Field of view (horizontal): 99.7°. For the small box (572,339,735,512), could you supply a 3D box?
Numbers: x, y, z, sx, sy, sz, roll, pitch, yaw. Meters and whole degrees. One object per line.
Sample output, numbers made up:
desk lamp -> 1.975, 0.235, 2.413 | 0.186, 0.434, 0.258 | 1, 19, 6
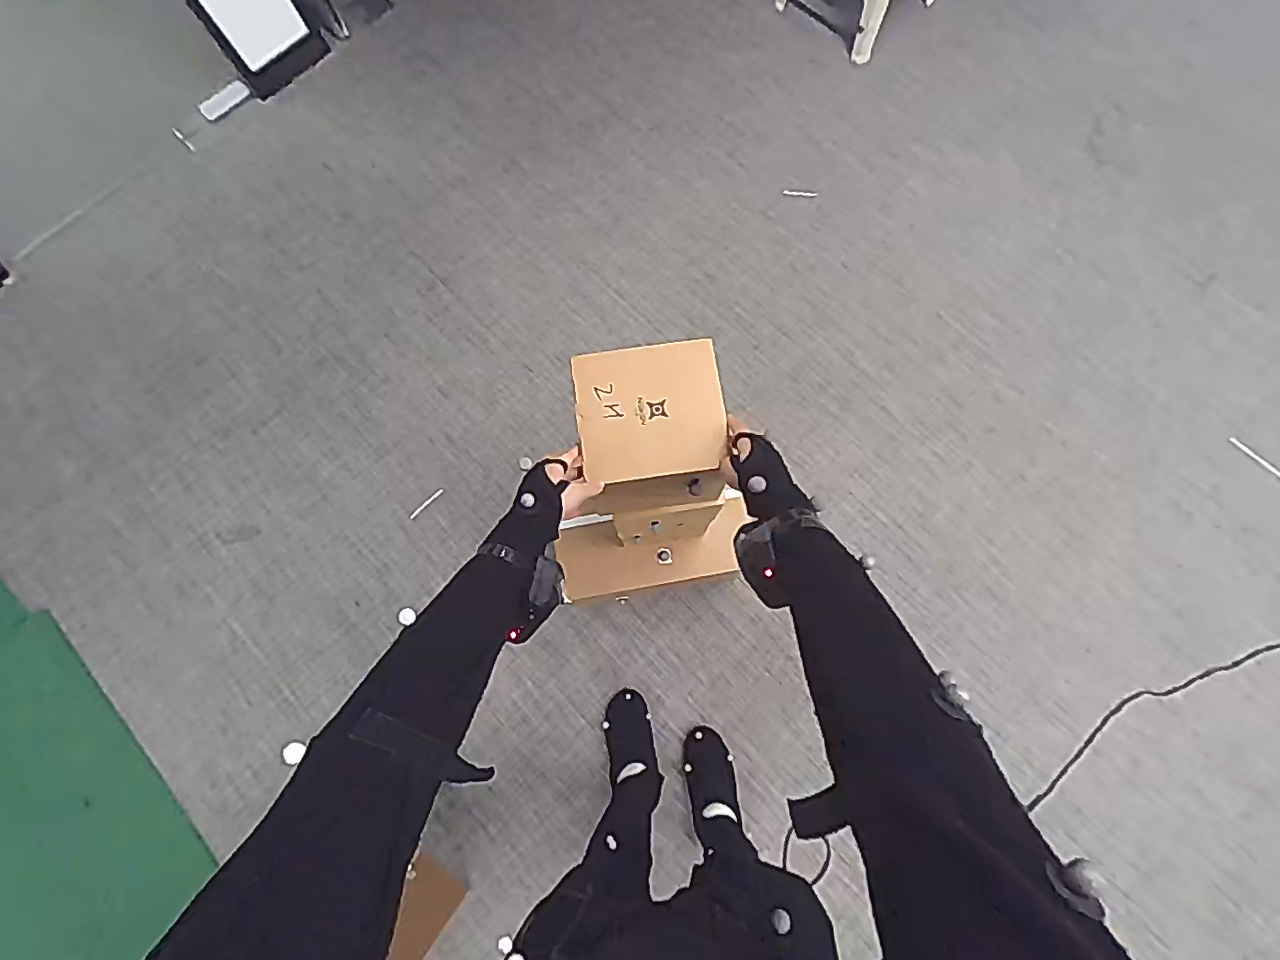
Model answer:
small box -> 0.014, -0.062, 0.707 | 0.179, 0.176, 0.168 | -8, 74, 0

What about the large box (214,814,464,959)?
large box -> -0.619, 0.971, 1.048 | 0.320, 0.320, 0.408 | 31, 80, 10

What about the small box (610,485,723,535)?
small box -> 0.030, -0.015, 0.865 | 0.168, 0.176, 0.179 | -9, 74, -1
